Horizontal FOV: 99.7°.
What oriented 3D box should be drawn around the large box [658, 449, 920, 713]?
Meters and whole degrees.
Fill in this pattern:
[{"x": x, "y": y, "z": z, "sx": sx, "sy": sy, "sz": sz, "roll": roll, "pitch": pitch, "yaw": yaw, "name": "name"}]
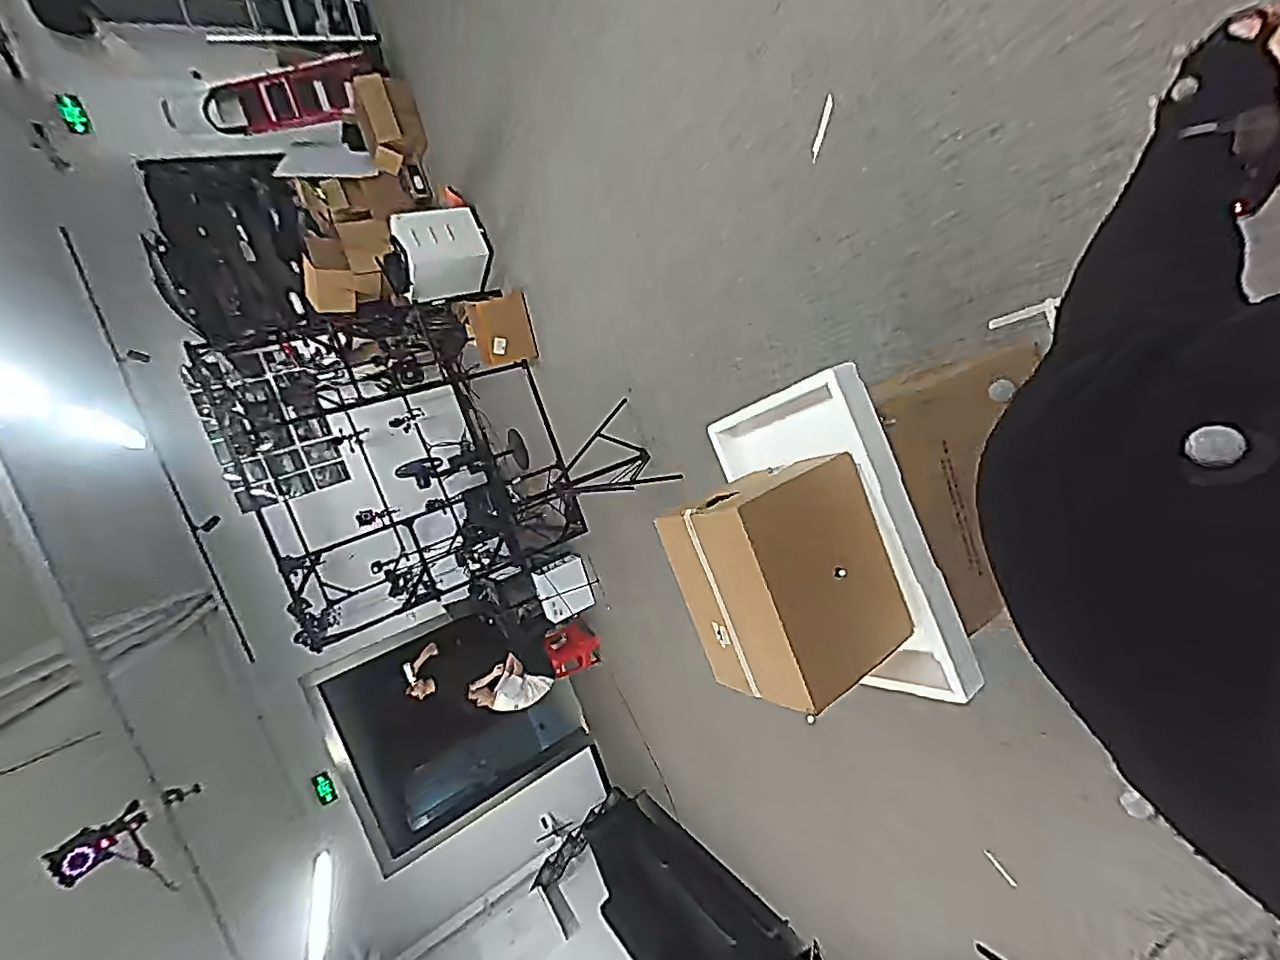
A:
[{"x": 0.303, "y": 0.192, "z": 1.136, "sx": 0.320, "sy": 0.320, "sz": 0.408, "roll": -17, "pitch": 97, "yaw": 64, "name": "large box"}]
